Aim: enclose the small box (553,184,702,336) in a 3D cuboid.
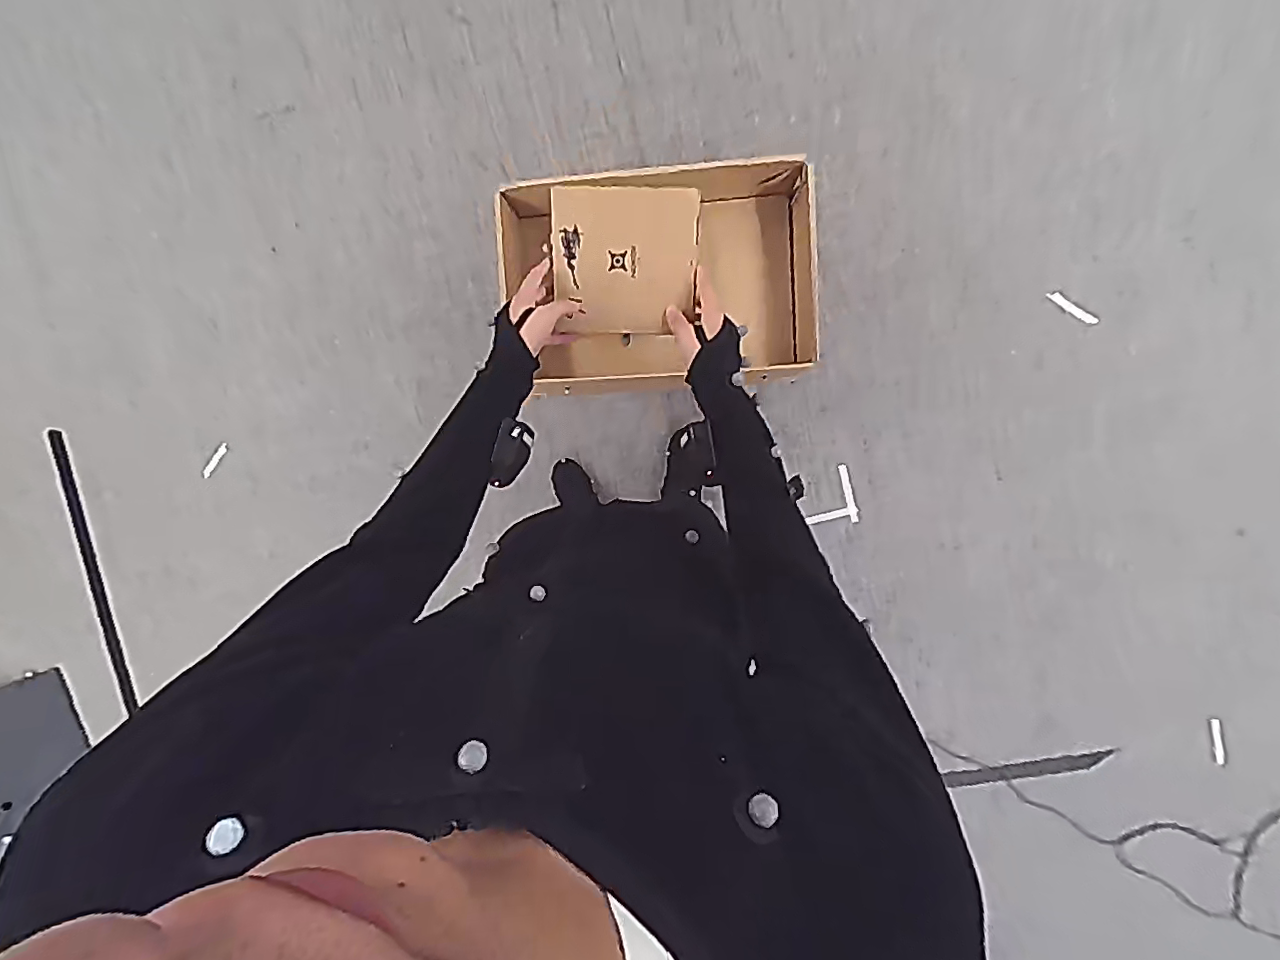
[{"bbox_3d":[-0.020,-0.281,0.724,0.179,0.176,0.168,1,104,-2],"label":"small box"}]
